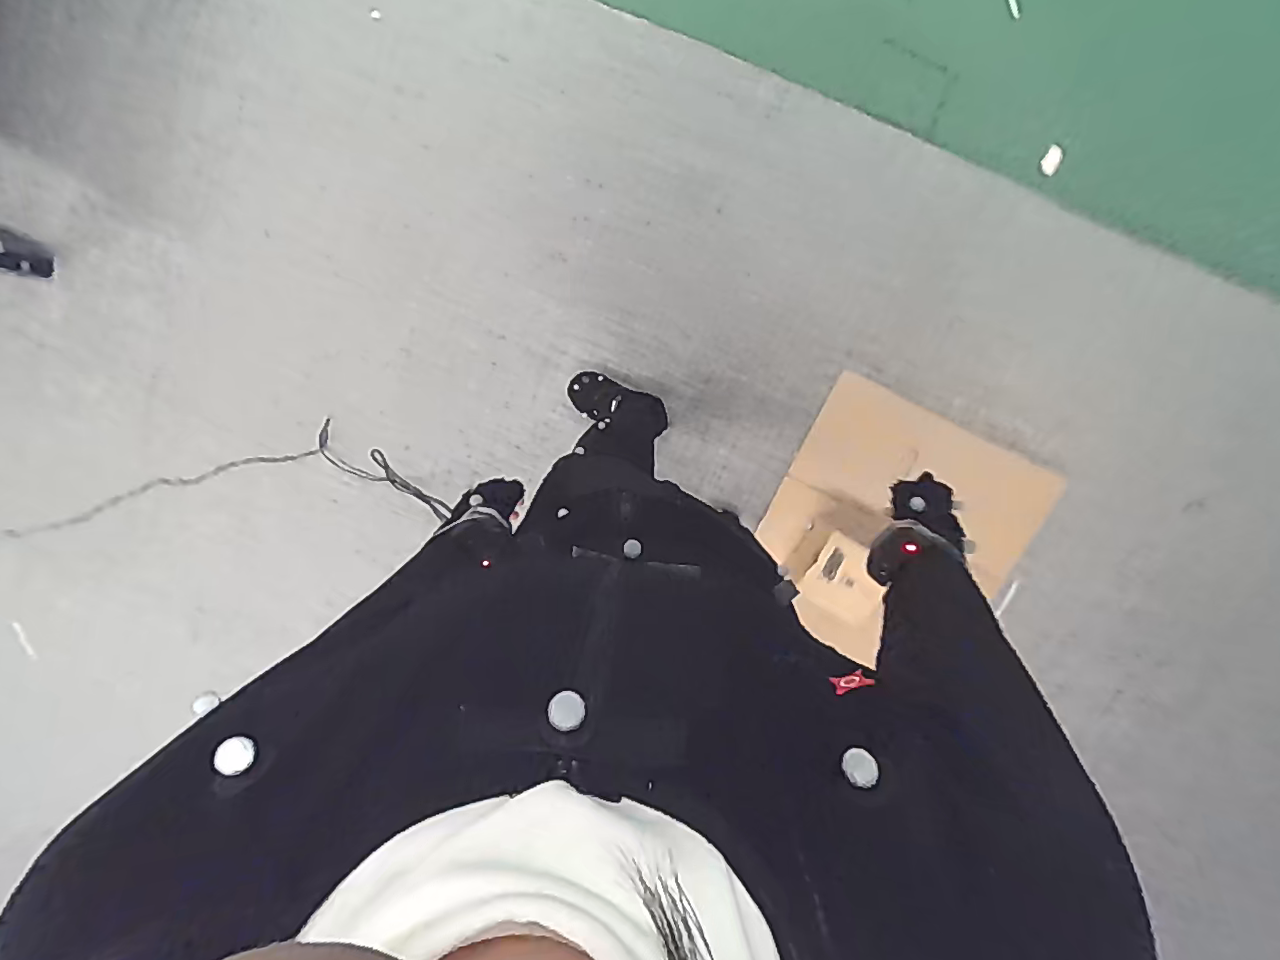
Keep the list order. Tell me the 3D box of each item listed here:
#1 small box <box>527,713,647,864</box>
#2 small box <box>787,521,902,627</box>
[{"bbox_3d":[-0.099,0.625,1.116,0.168,0.176,0.179,-33,91,8],"label":"small box"},{"bbox_3d":[0.478,0.215,1.296,0.179,0.176,0.168,32,99,-1],"label":"small box"}]
